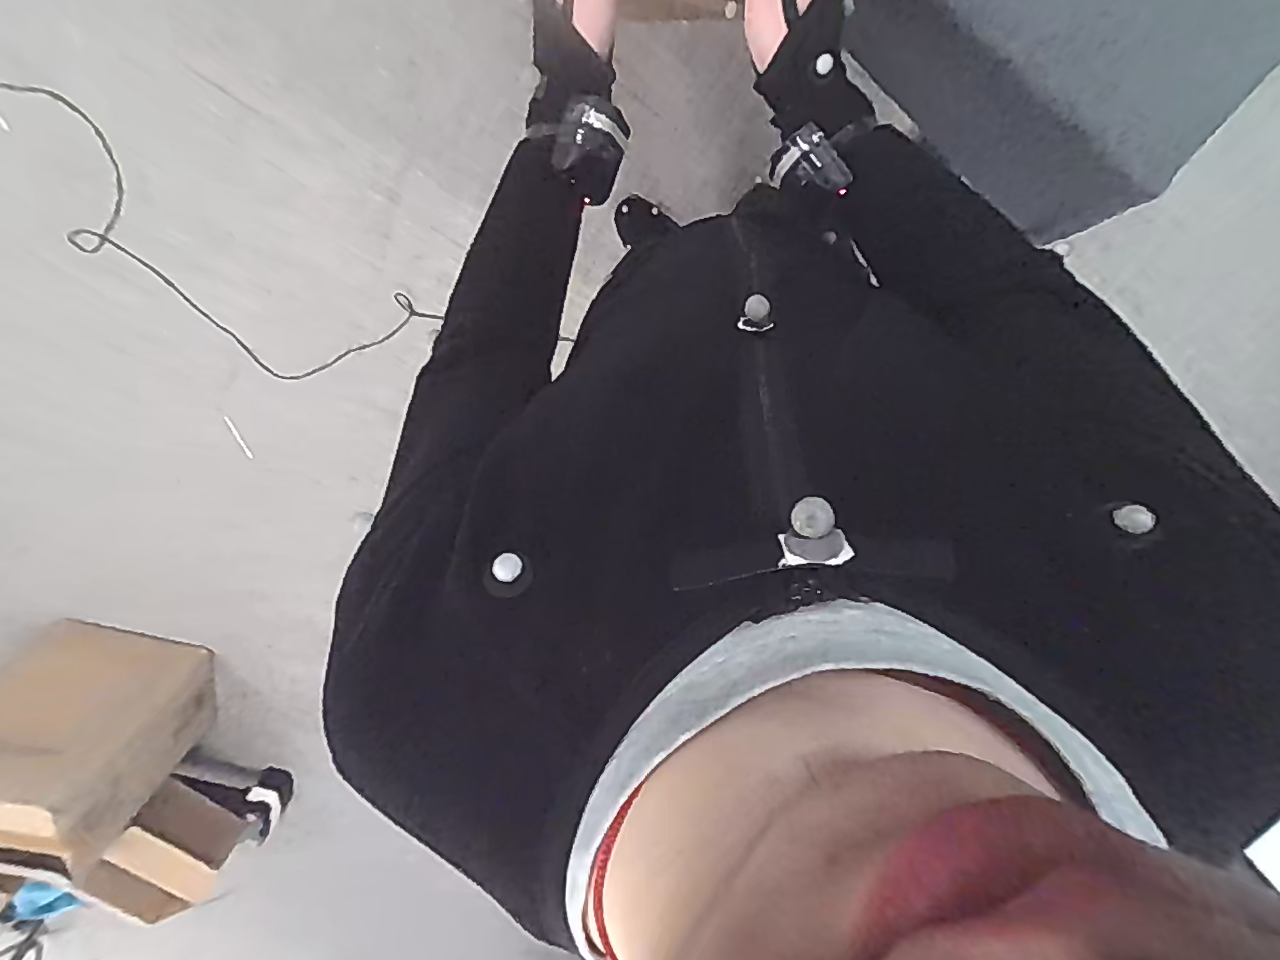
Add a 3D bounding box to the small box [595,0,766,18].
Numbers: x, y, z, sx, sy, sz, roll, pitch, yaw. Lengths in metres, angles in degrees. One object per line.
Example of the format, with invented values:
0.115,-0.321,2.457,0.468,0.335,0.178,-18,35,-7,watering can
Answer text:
0.042,-0.501,0.433,0.179,0.176,0.168,0,117,1,small box
